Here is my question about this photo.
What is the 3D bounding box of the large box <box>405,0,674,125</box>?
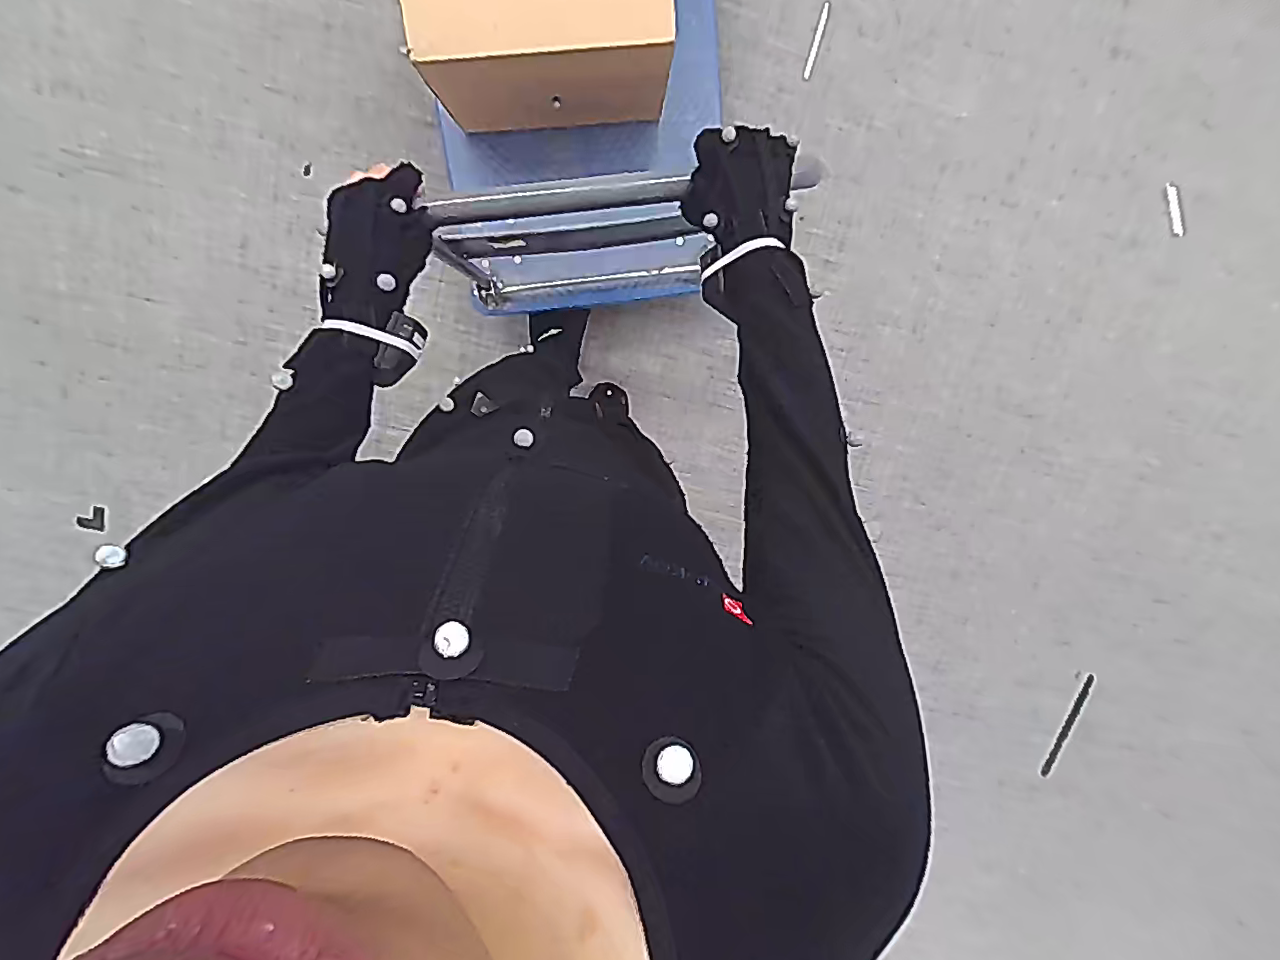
[{"bbox_3d":[-0.162,-0.845,0.926,0.408,0.320,0.320,-5,106,0],"label":"large box"}]
